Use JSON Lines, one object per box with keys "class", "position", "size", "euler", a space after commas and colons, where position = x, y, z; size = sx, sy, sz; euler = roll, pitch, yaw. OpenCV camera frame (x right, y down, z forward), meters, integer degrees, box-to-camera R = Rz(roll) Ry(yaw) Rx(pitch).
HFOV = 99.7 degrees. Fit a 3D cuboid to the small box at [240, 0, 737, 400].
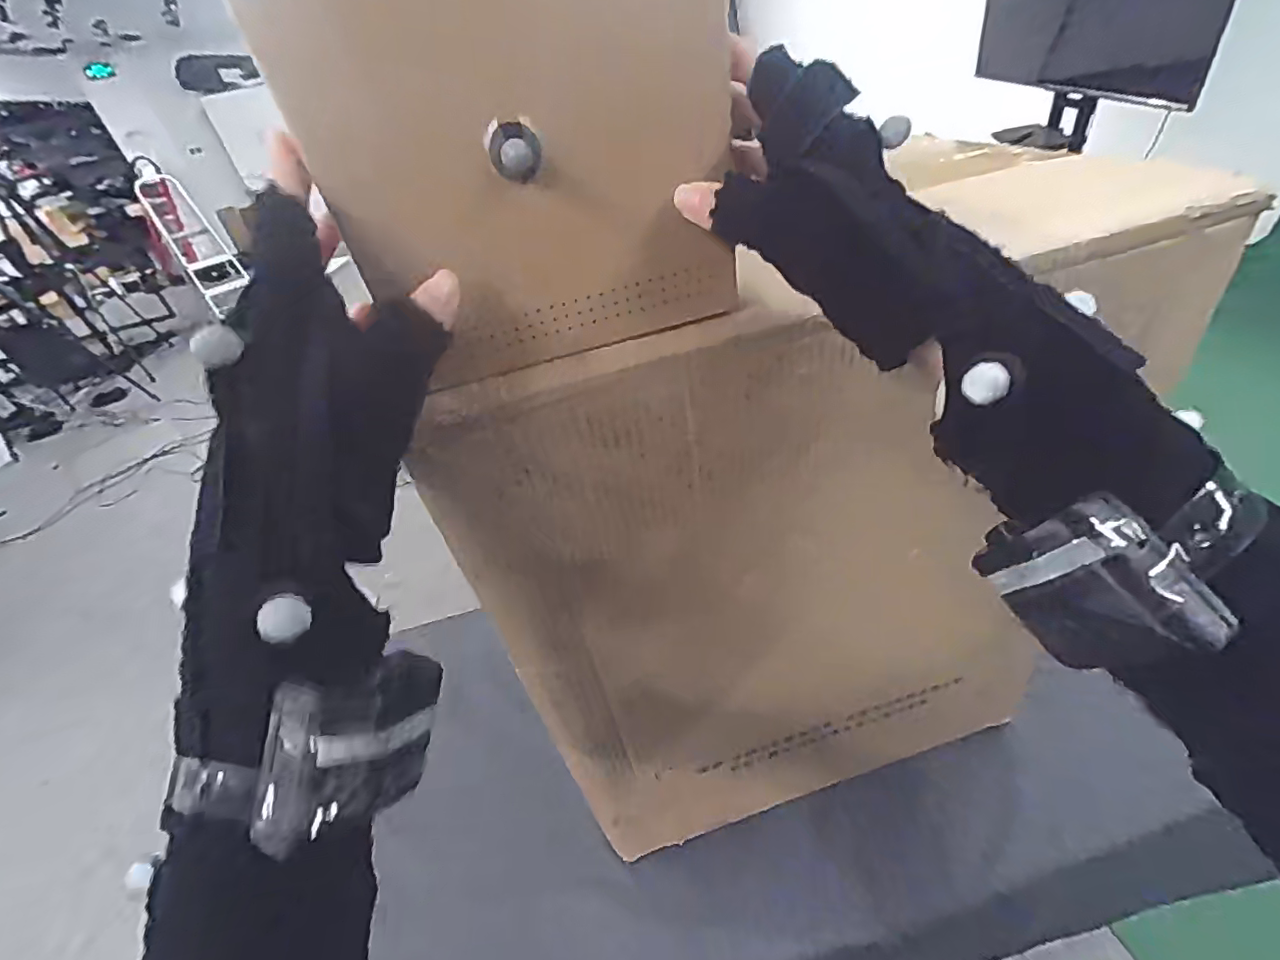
{"class": "small box", "position": [-0.061, -0.169, 0.294], "size": [0.179, 0.176, 0.168], "euler": [-18, 42, -9]}
